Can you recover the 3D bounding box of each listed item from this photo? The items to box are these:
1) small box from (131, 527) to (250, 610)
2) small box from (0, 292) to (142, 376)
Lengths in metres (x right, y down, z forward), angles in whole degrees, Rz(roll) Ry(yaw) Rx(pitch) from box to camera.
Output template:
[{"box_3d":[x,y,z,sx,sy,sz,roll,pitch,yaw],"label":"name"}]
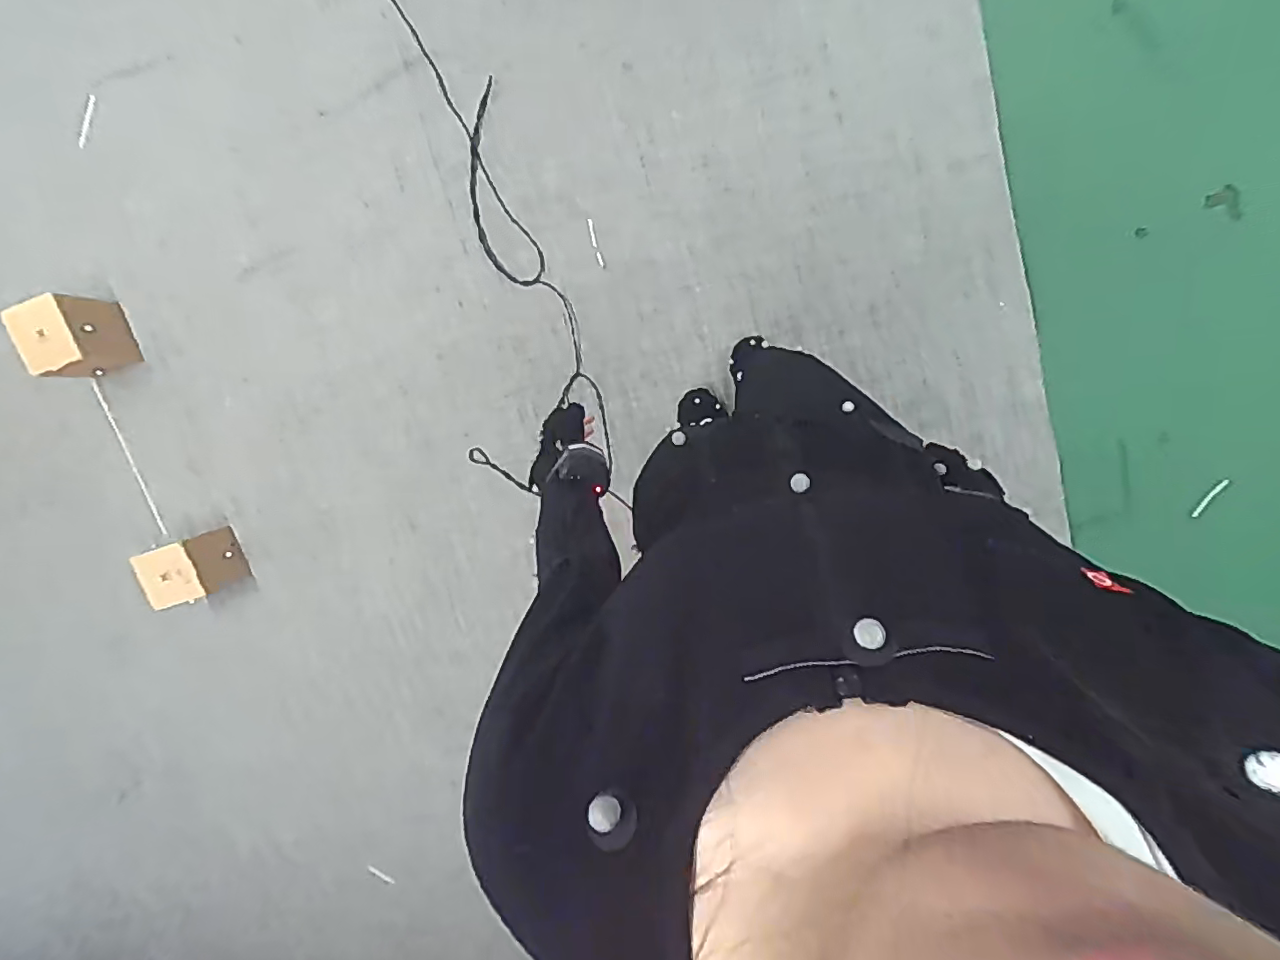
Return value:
[{"box_3d":[-1.294,0.252,1.568,0.179,0.176,0.168,-17,100,8],"label":"small box"},{"box_3d":[-1.520,-0.385,1.457,0.168,0.176,0.179,-17,100,7],"label":"small box"}]
